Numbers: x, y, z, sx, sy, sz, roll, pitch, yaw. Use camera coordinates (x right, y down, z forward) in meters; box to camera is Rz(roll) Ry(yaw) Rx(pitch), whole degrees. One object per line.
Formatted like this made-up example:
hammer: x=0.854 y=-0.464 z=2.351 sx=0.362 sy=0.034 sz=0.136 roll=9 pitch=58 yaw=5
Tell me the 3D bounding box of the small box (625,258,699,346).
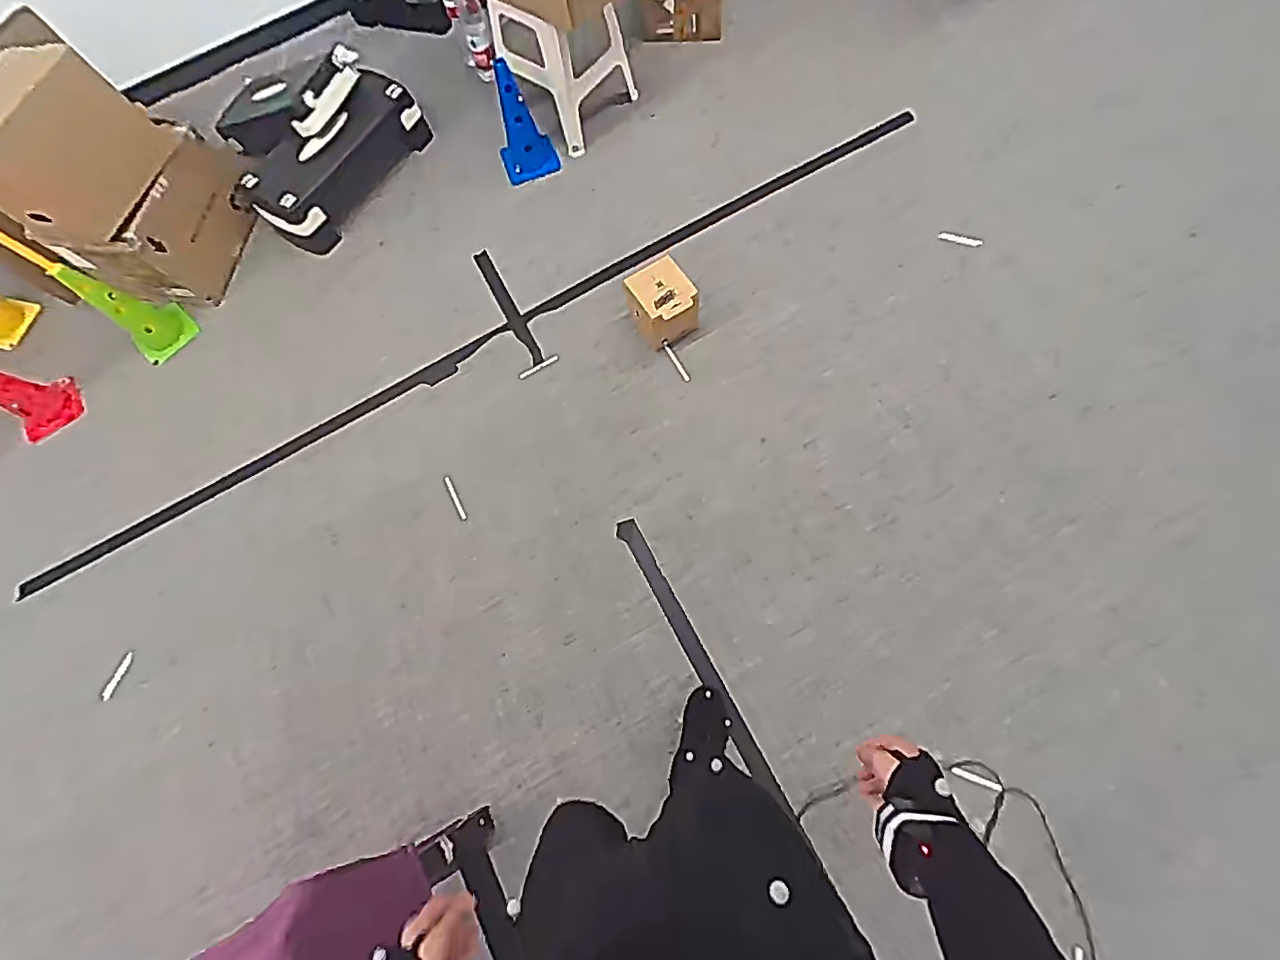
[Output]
small box: x=0.073 y=-0.545 z=1.690 sx=0.168 sy=0.176 sz=0.179 roll=-30 pitch=71 yaw=-5
